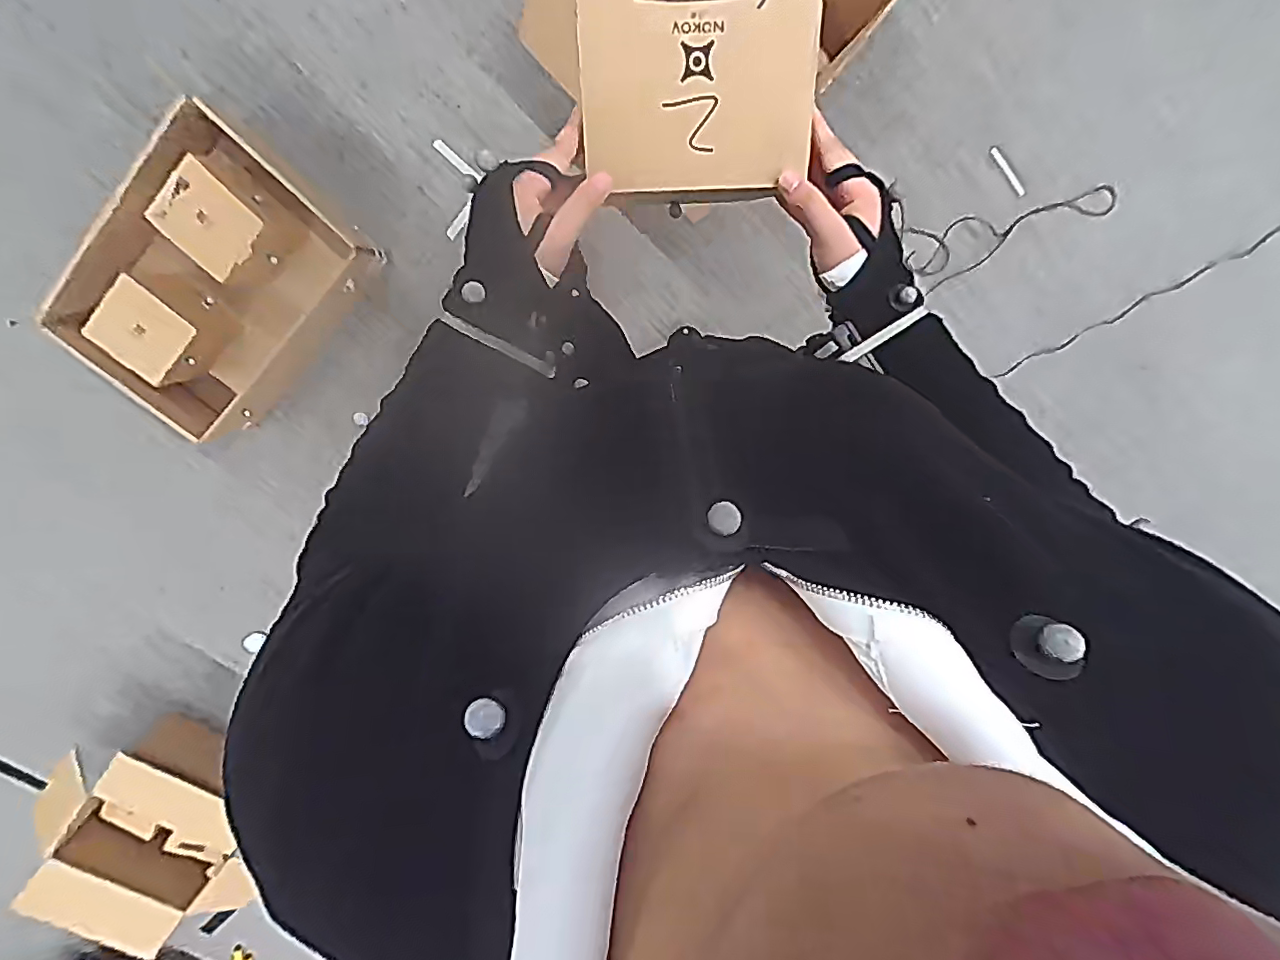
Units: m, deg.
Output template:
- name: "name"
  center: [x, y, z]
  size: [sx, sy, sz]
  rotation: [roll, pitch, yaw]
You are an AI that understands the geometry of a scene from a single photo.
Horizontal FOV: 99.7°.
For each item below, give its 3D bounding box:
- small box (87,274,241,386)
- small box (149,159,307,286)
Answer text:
- name: "small box"
  center: [-1.064, -0.342, 1.227]
  size: [0.168, 0.176, 0.179]
  rotation: [42, 101, -17]
- name: "small box"
  center: [-0.868, -0.545, 1.161]
  size: [0.168, 0.176, 0.179]
  rotation: [-41, 108, 13]
